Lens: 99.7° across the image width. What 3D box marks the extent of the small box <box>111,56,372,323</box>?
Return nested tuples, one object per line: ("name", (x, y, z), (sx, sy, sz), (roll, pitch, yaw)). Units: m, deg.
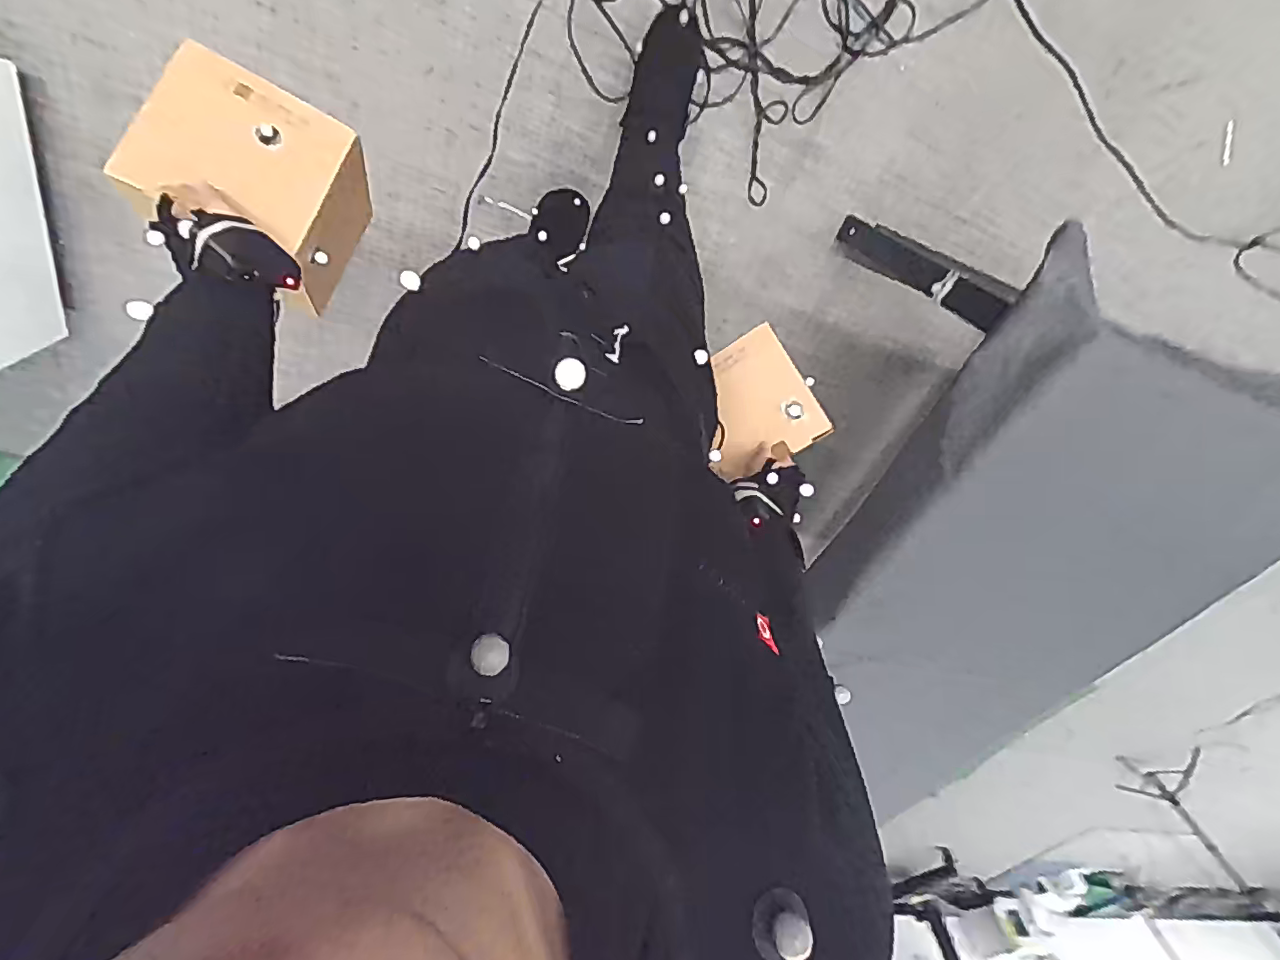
("small box", (-0.429, -0.317, 0.624), (0.168, 0.179, 0.176), (23, 78, -18))
